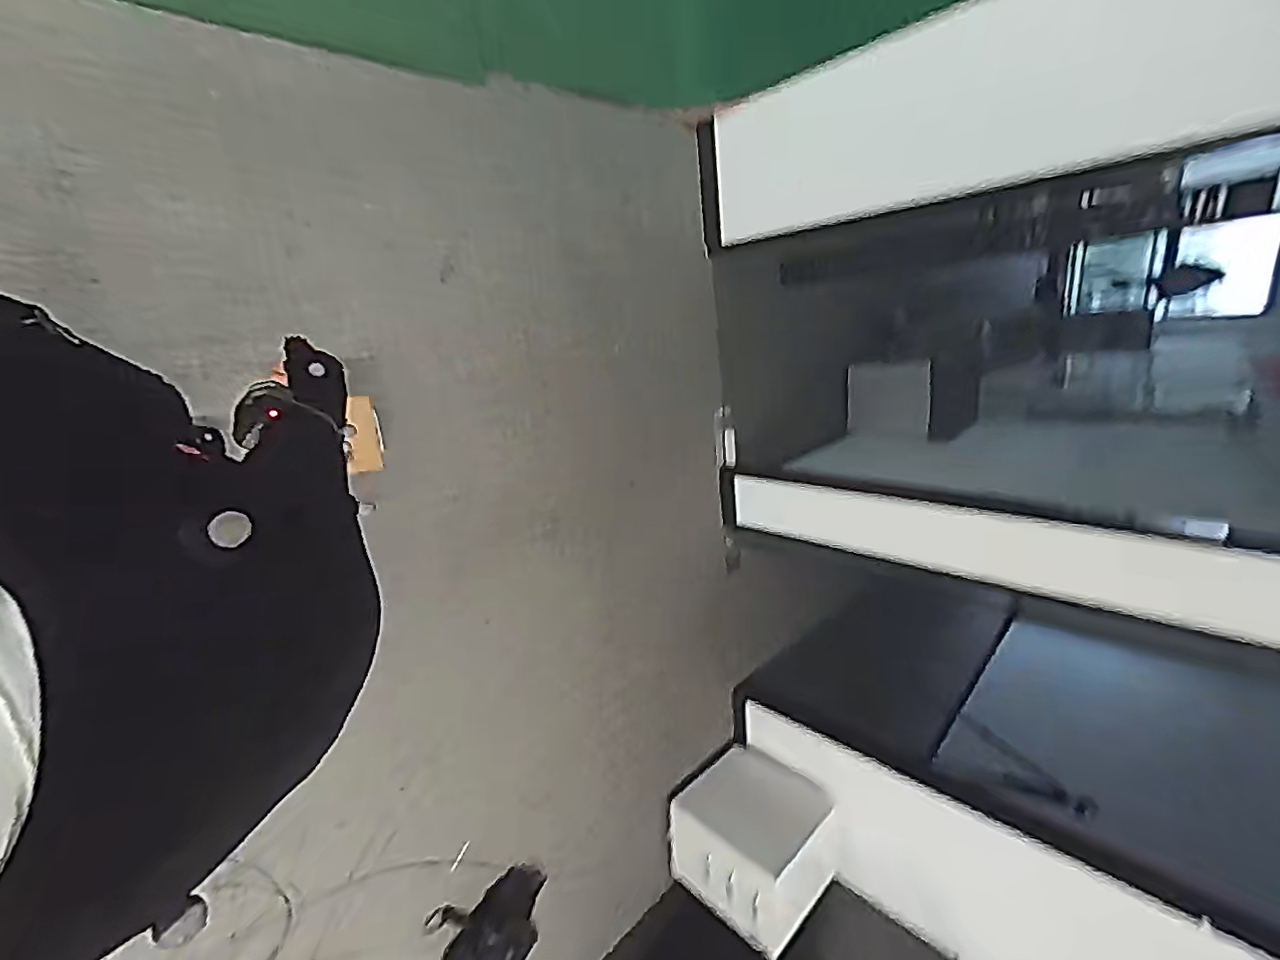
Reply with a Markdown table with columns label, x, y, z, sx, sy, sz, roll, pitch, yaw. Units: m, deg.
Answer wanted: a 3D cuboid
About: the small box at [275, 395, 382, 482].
| label | x | y | z | sx | sy | sz | roll | pitch | yaw |
| --- | --- | --- | --- | --- | --- | --- | --- | --- | --- |
| small box | -0.730 | -0.105 | 1.267 | 0.168 | 0.176 | 0.179 | -17 | 108 | -42 |
